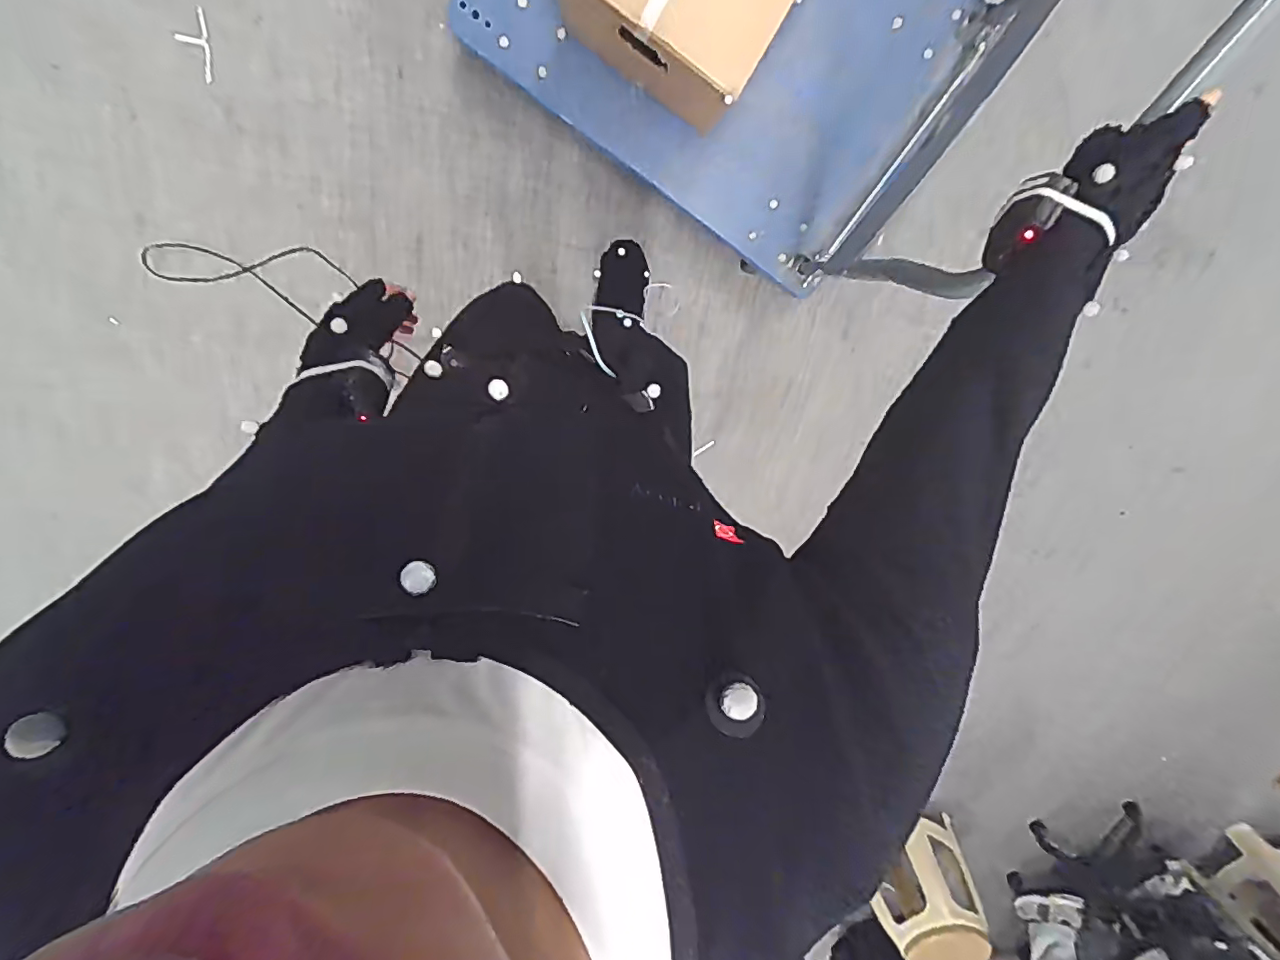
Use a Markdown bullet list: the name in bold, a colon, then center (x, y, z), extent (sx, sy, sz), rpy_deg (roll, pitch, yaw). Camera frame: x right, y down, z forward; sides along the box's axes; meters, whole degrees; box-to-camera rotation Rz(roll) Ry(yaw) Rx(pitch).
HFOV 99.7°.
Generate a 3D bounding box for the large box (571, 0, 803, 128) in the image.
- **large box**: center (0.119, -0.839, 0.812), extent (0.320, 0.320, 0.408), rpy_deg (29, 112, -13)
